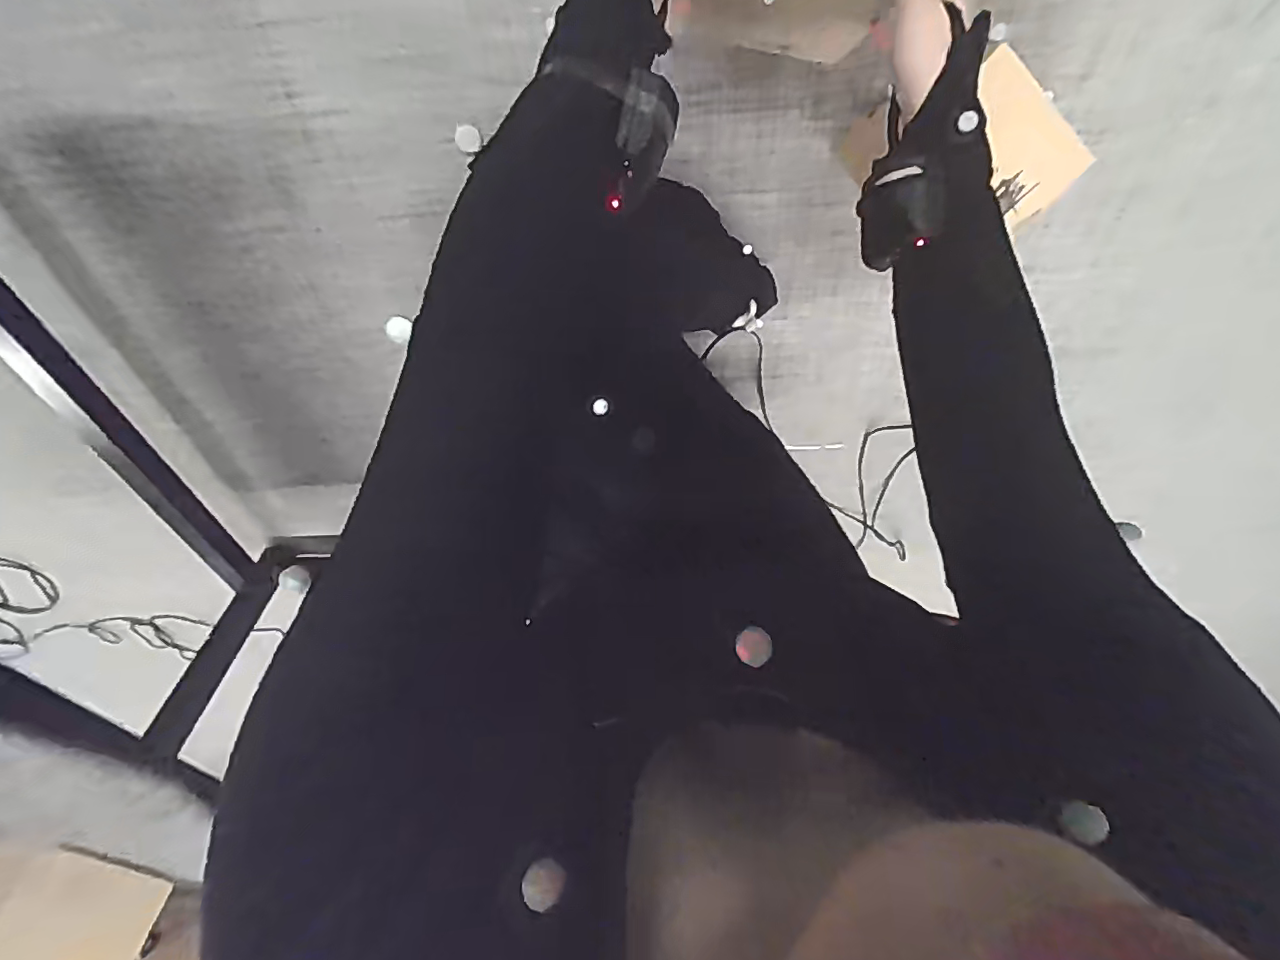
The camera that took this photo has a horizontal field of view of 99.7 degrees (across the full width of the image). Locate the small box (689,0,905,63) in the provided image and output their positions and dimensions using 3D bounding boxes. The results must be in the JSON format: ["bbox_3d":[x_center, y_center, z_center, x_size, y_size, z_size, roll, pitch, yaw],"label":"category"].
[{"bbox_3d":[0.138,-0.482,0.436,0.168,0.176,0.179,9,112,-4],"label":"small box"}]

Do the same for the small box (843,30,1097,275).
[{"bbox_3d":[0.374,-0.390,0.643,0.179,0.176,0.168,28,129,-22],"label":"small box"}]
